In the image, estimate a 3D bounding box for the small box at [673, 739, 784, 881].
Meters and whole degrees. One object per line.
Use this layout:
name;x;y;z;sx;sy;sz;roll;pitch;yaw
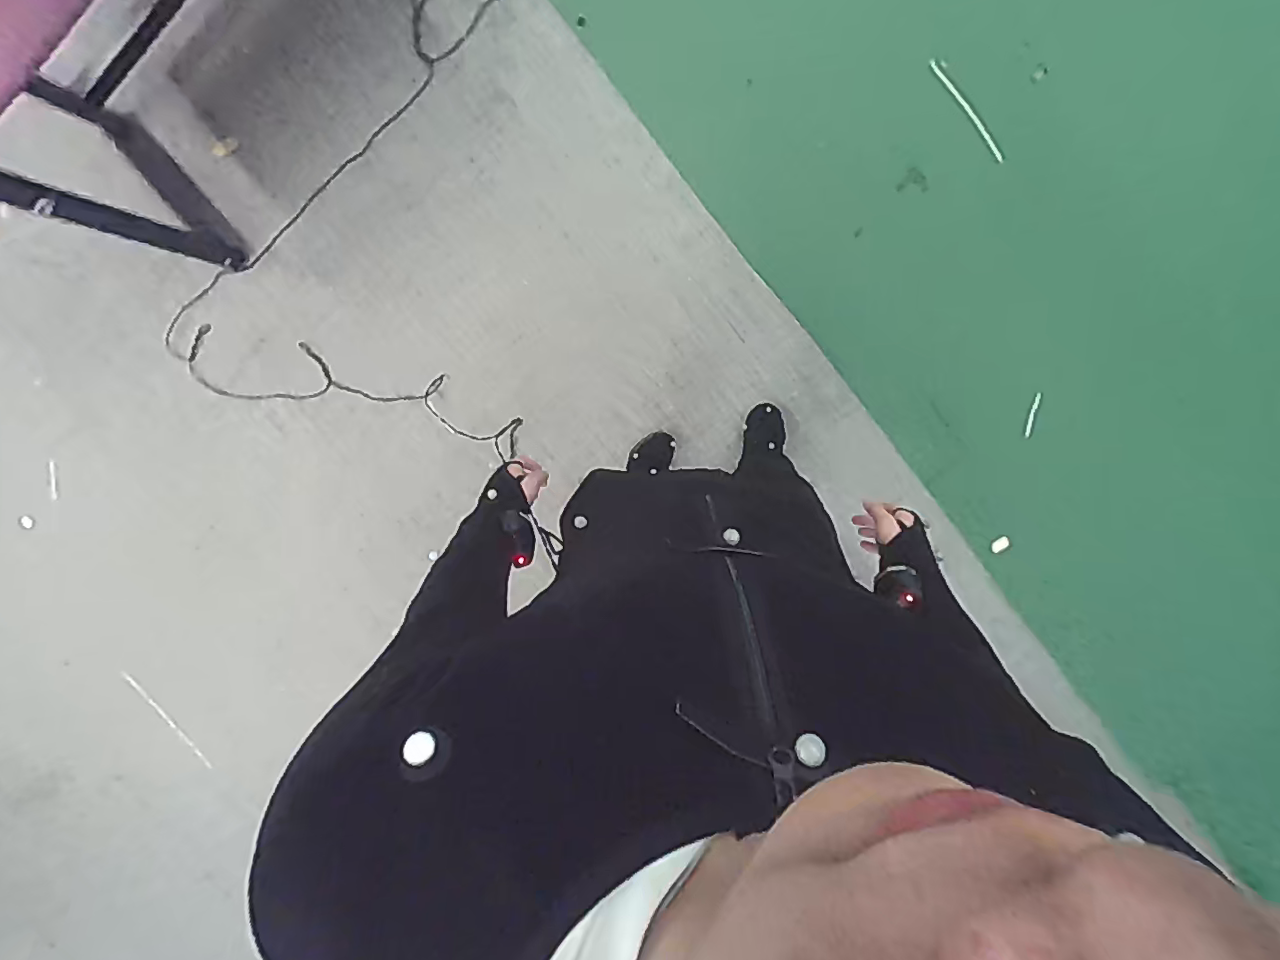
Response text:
small box;0.191;0.726;1.206;0.179;0.176;0.168;-37;94;8
